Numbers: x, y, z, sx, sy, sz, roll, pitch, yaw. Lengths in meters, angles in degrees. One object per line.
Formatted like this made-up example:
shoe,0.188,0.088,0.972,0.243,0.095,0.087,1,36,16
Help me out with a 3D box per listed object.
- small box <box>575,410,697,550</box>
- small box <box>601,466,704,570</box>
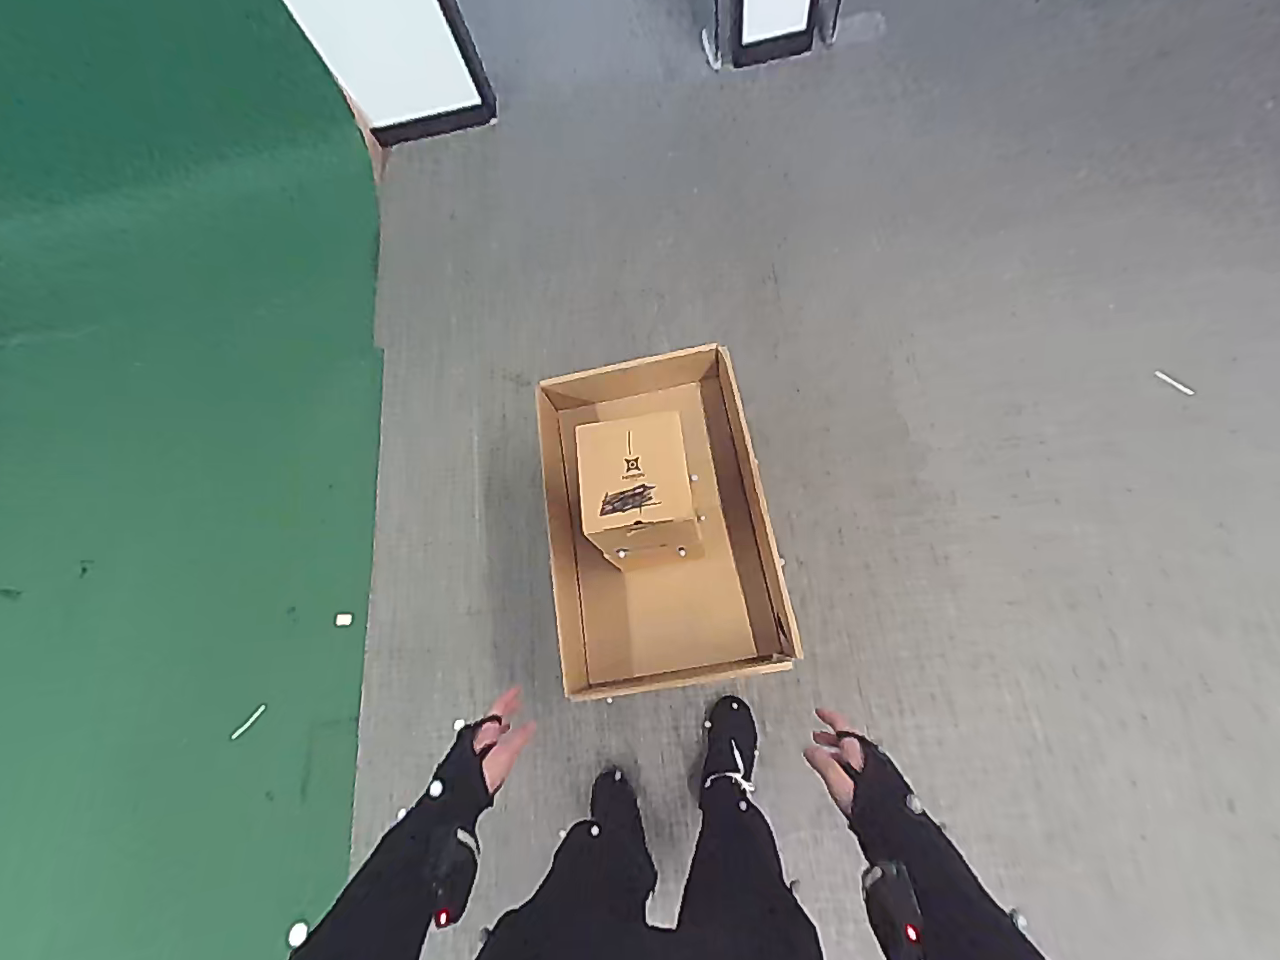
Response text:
small box,-0.001,0.011,0.875,0.168,0.176,0.179,-8,70,5
small box,0.022,0.068,1.027,0.179,0.176,0.168,-10,70,5
